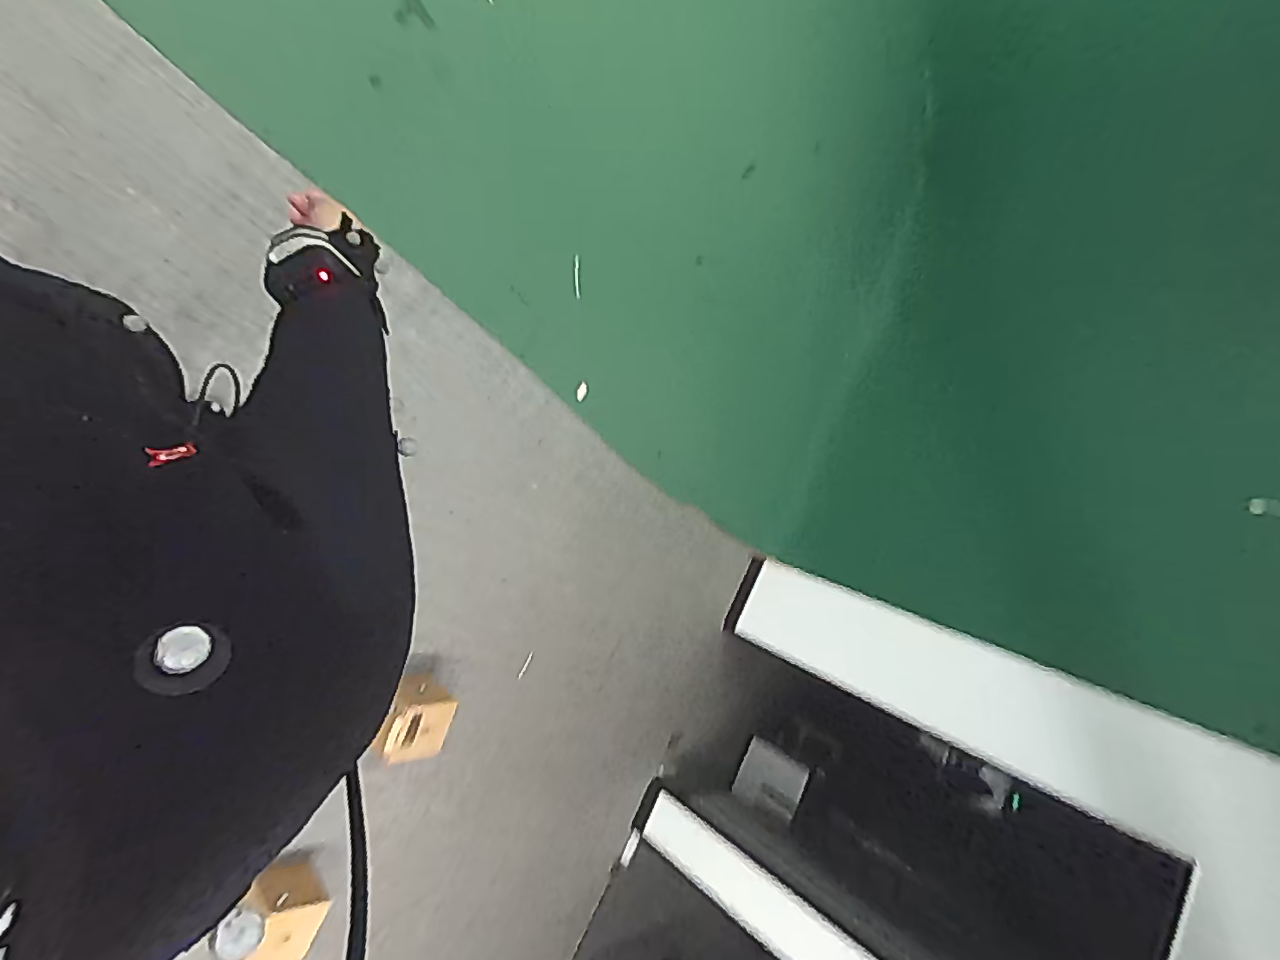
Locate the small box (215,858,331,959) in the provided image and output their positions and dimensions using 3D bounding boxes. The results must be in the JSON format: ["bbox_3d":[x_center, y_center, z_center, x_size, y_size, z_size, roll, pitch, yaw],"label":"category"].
[{"bbox_3d":[-0.975,1.146,1.435,0.179,0.176,0.168,37,77,-51],"label":"small box"}]
